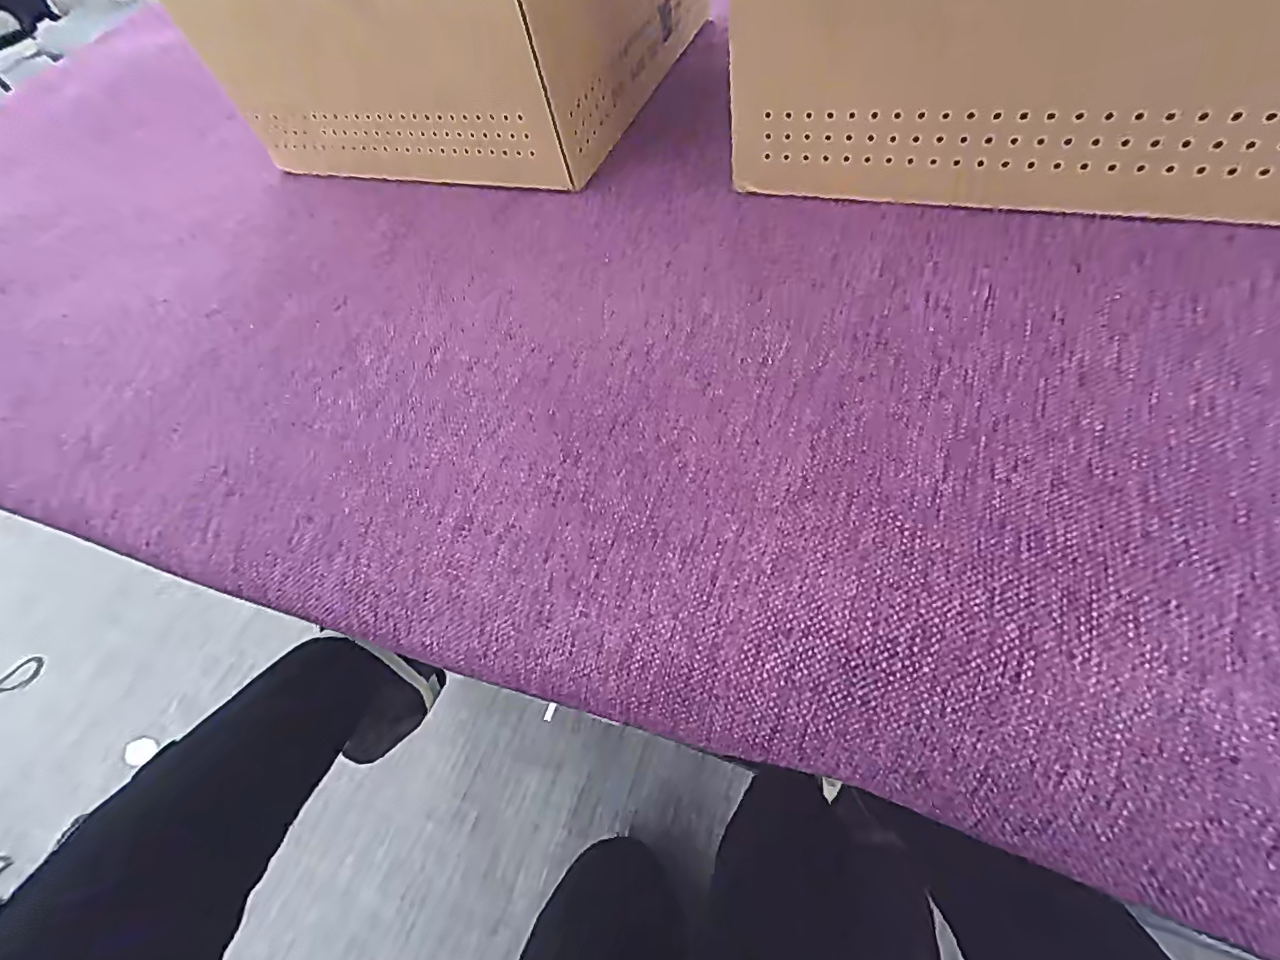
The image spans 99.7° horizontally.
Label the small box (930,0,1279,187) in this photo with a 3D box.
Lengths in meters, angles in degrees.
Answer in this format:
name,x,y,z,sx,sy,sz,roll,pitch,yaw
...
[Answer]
name,x,y,z,sx,sy,sz,roll,pitch,yaw
small box,0.177,-0.194,0.110,0.179,0.176,0.168,-6,96,13
